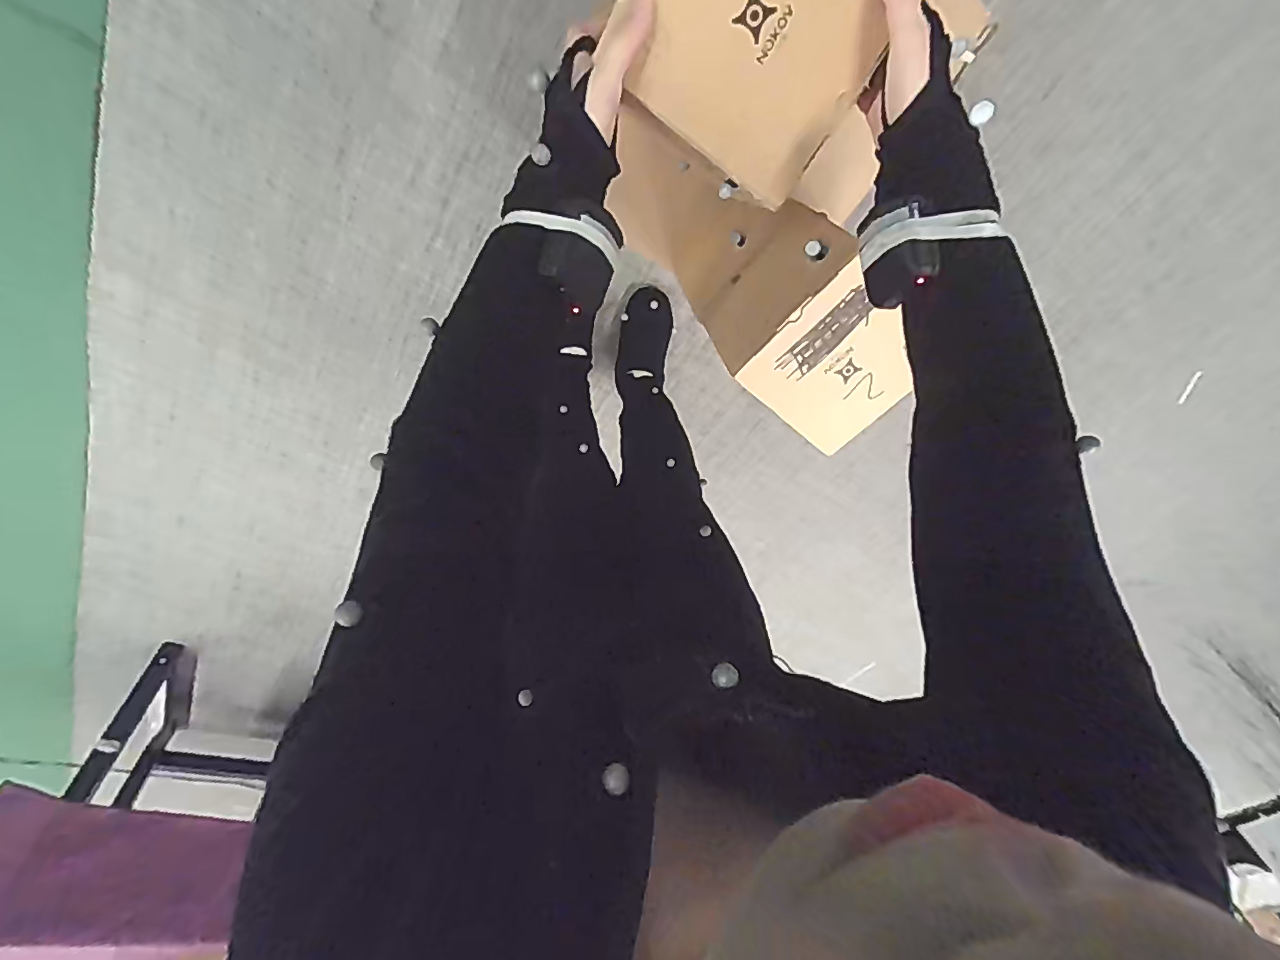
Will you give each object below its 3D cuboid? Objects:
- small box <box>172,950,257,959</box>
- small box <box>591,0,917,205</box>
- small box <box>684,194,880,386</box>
[{"bbox_3d":[-1.042,1.232,1.272,0.179,0.176,0.168,23,123,-23],"label":"small box"},{"bbox_3d":[0.073,-0.354,0.440,0.179,0.176,0.168,26,116,-20],"label":"small box"},{"bbox_3d":[0.180,-0.270,0.743,0.168,0.176,0.179,27,119,-26],"label":"small box"}]
